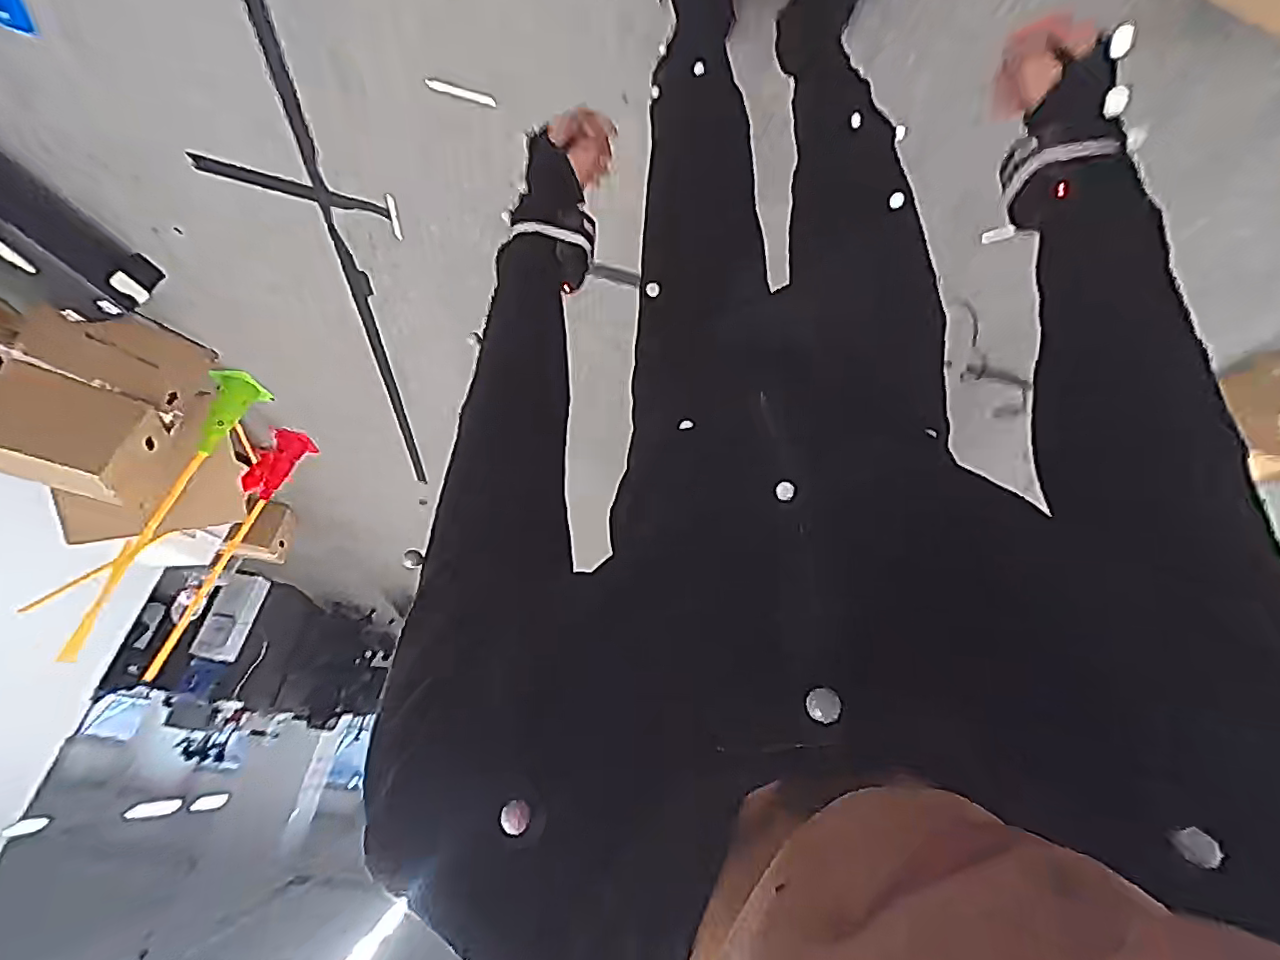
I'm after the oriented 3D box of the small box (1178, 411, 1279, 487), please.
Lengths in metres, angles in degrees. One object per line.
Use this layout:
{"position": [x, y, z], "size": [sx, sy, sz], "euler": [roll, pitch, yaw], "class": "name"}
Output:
{"position": [1.904, -0.102, 1.738], "size": [0.179, 0.176, 0.168], "euler": [12, 152, -7], "class": "small box"}
